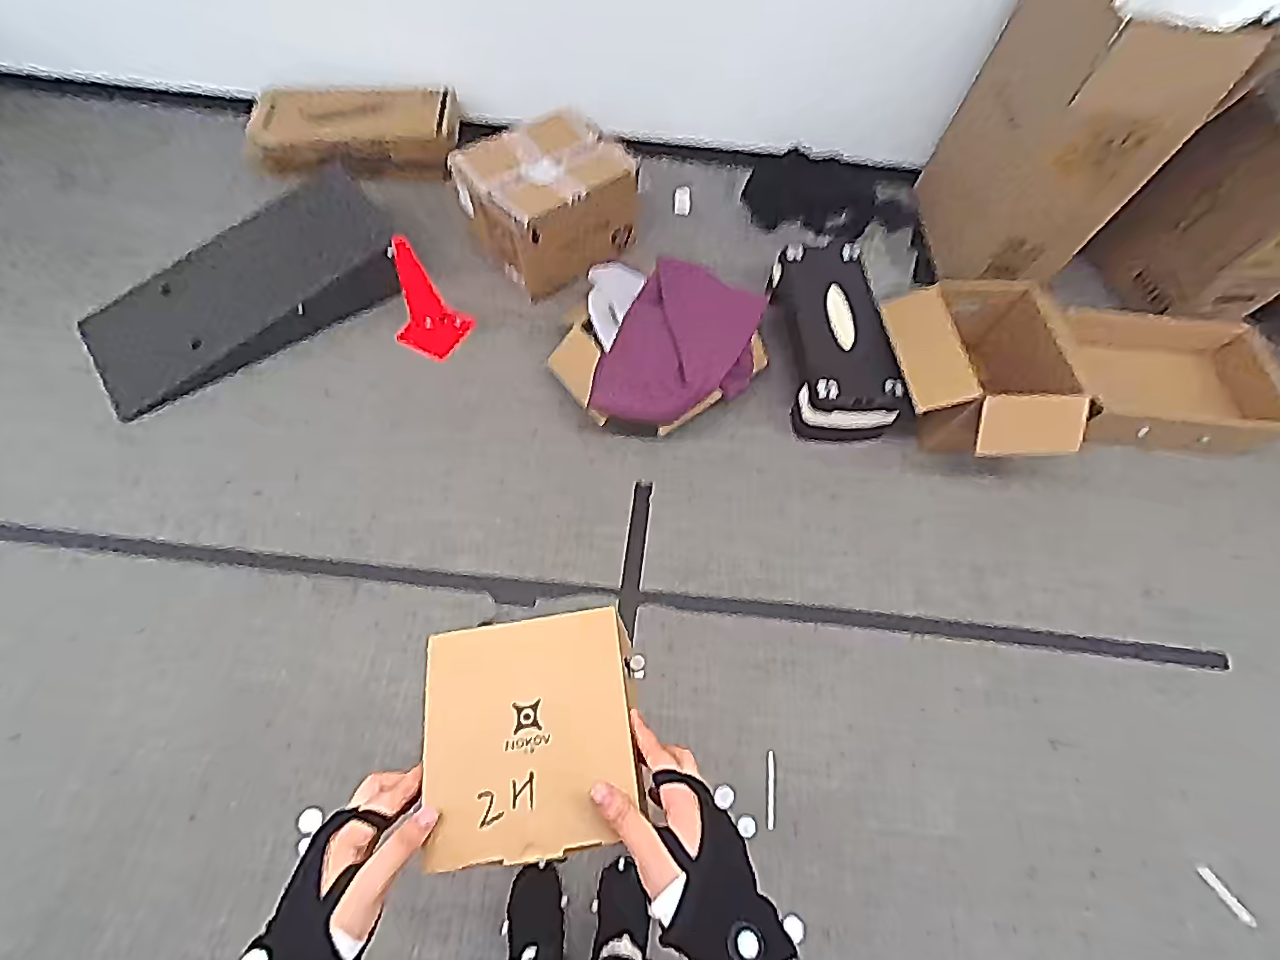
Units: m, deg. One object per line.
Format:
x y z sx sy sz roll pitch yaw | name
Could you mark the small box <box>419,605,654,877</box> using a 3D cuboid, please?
-0.082 0.231 0.492 0.168 0.176 0.179 -10 63 0 | small box
